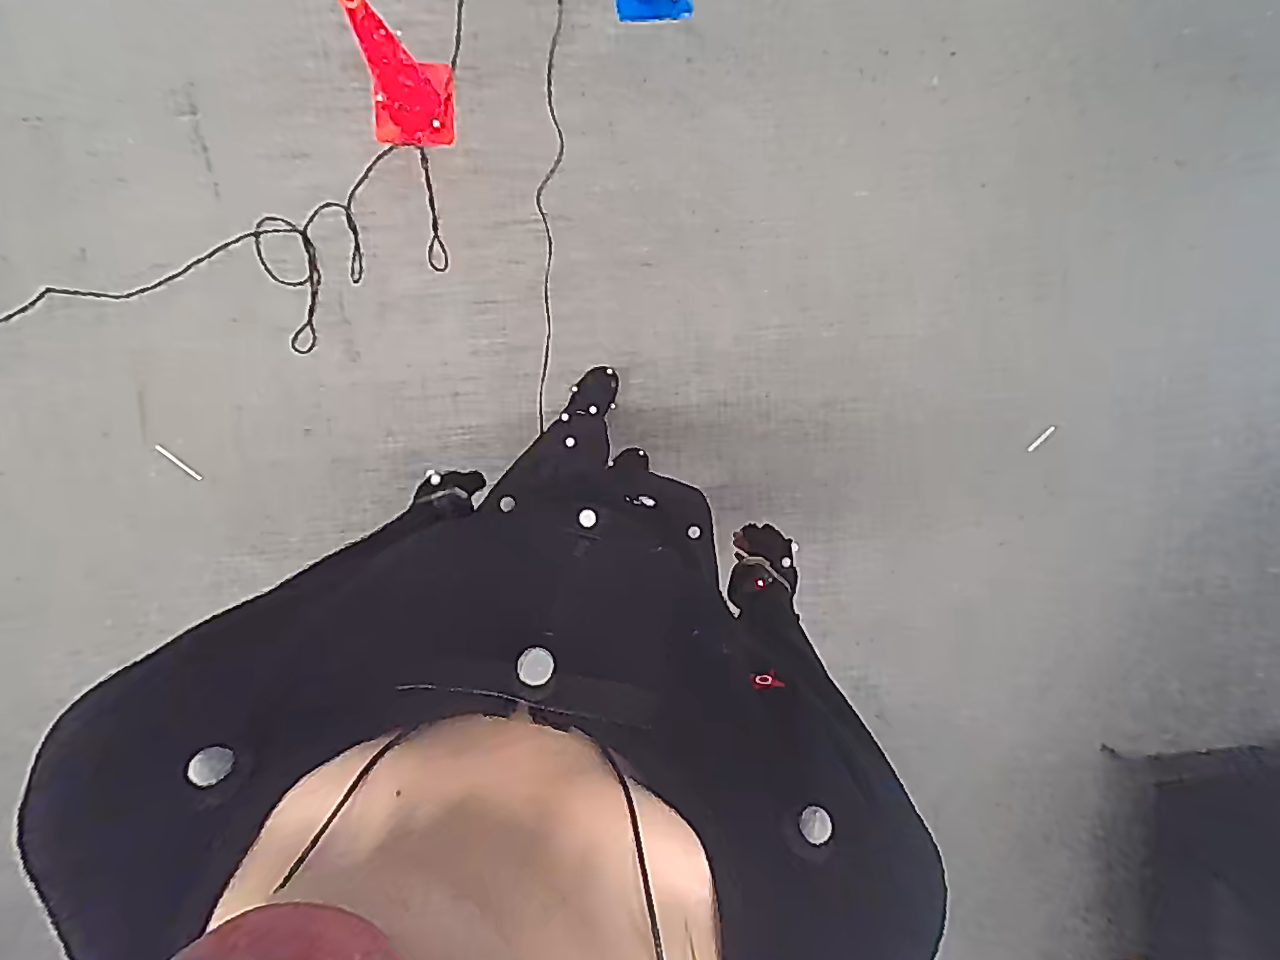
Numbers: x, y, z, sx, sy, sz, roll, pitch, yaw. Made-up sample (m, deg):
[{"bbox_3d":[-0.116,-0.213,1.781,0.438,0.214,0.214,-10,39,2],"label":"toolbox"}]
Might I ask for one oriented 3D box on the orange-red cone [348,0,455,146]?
[{"bbox_3d":[-0.560,-0.947,1.206,0.198,0.360,0.199,1,94,-4],"label":"orange-red cone"}]
